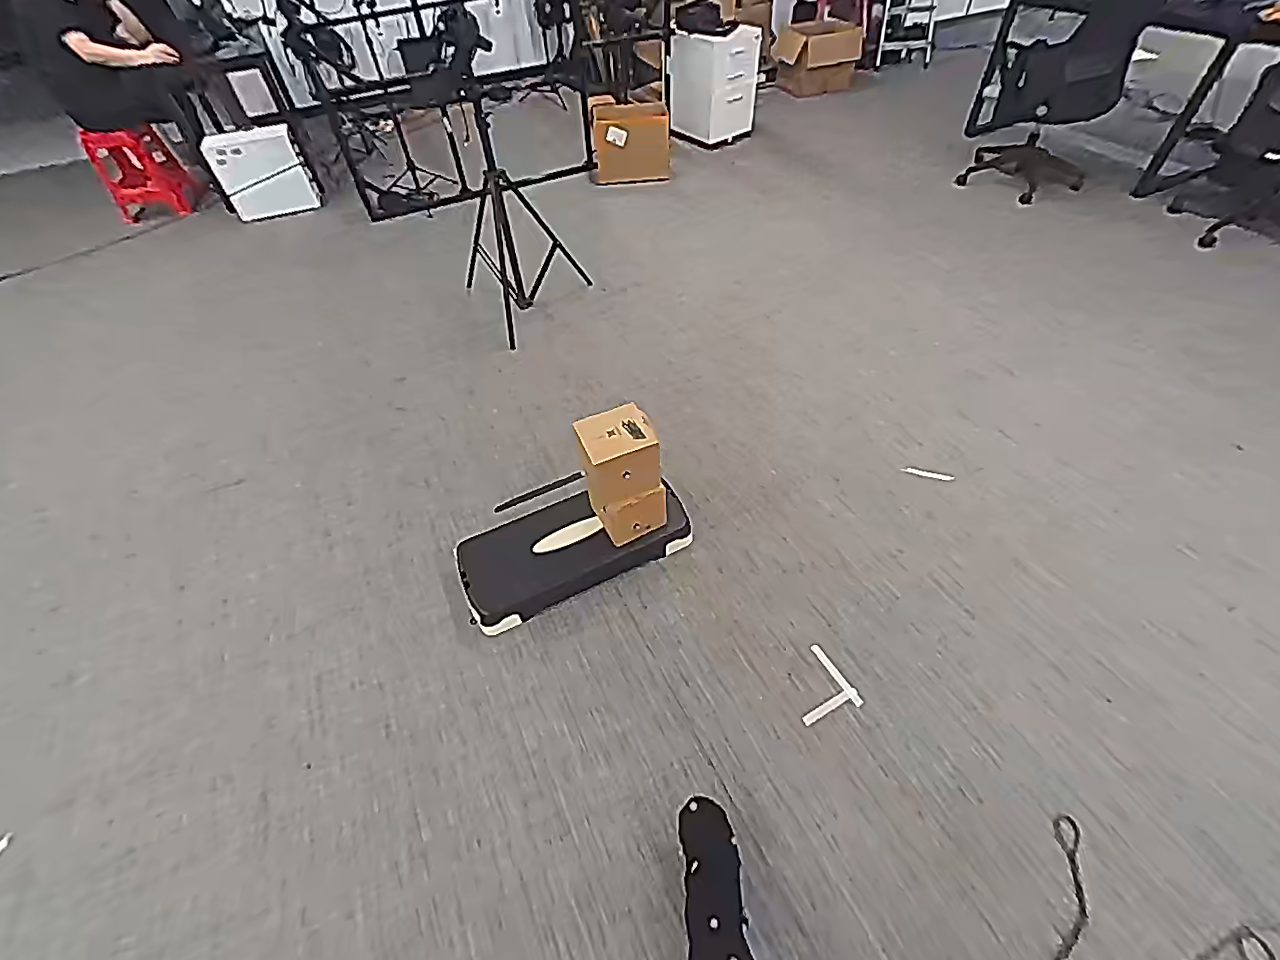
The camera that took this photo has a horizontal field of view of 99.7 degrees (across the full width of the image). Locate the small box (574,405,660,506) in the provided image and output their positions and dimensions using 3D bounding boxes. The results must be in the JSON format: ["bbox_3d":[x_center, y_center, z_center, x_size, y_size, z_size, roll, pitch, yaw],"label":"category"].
[{"bbox_3d":[-0.057,-0.062,1.420,0.179,0.176,0.168,-20,52,-12],"label":"small box"}]

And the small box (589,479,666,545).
[{"bbox_3d":[-0.039,0.052,1.538,0.168,0.176,0.179,-24,53,-16],"label":"small box"}]
